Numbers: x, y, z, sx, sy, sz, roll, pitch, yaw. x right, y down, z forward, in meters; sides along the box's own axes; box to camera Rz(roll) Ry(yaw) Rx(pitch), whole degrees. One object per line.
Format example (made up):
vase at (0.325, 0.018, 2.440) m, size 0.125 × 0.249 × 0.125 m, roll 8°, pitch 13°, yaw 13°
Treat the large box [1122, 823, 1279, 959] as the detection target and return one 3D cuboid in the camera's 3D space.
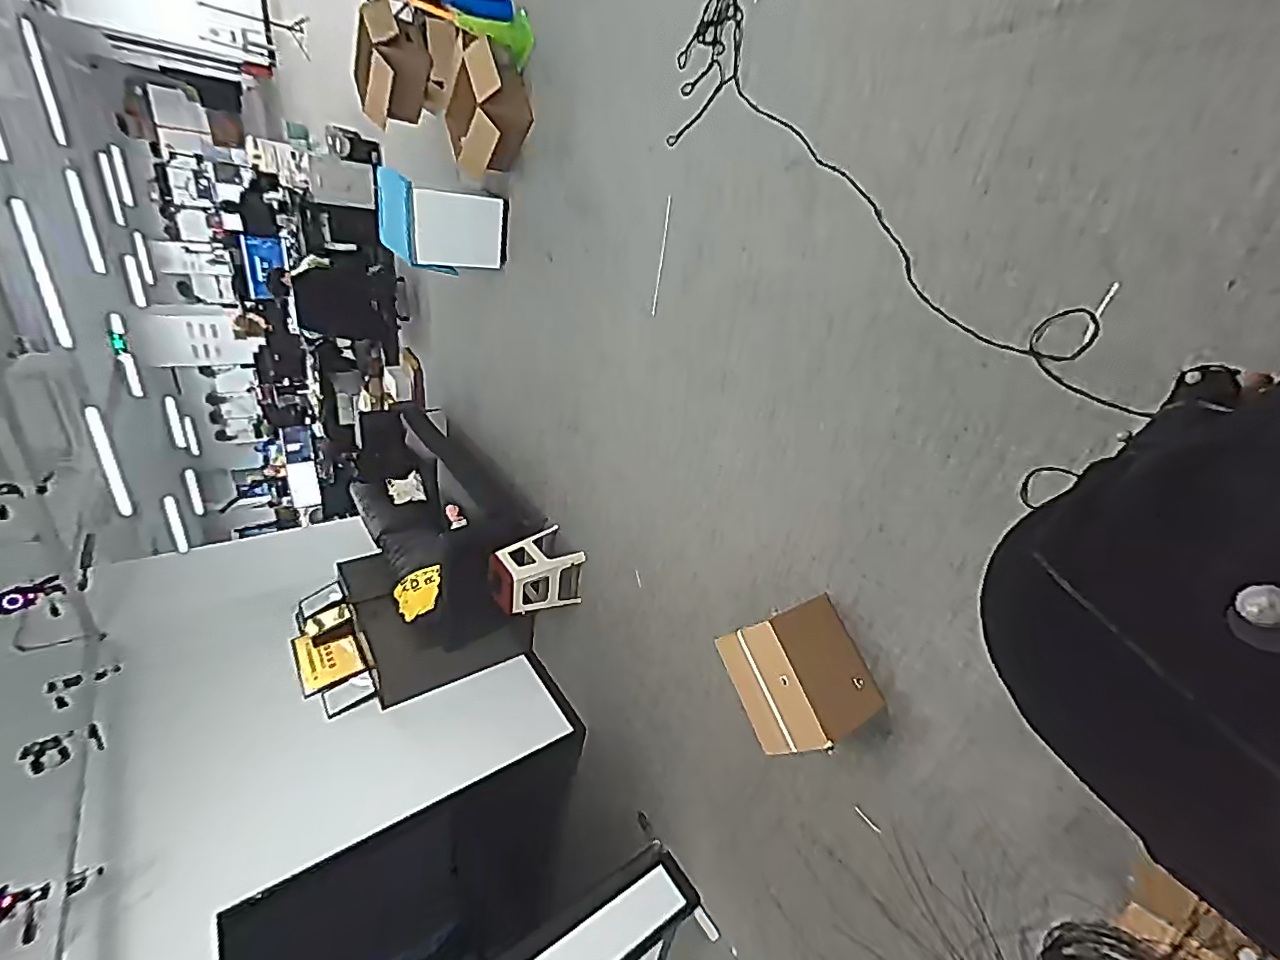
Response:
large box at (1.218, 0.981, 1.031) m, size 0.408 × 0.320 × 0.320 m, roll 21°, pitch 118°, yaw 49°
